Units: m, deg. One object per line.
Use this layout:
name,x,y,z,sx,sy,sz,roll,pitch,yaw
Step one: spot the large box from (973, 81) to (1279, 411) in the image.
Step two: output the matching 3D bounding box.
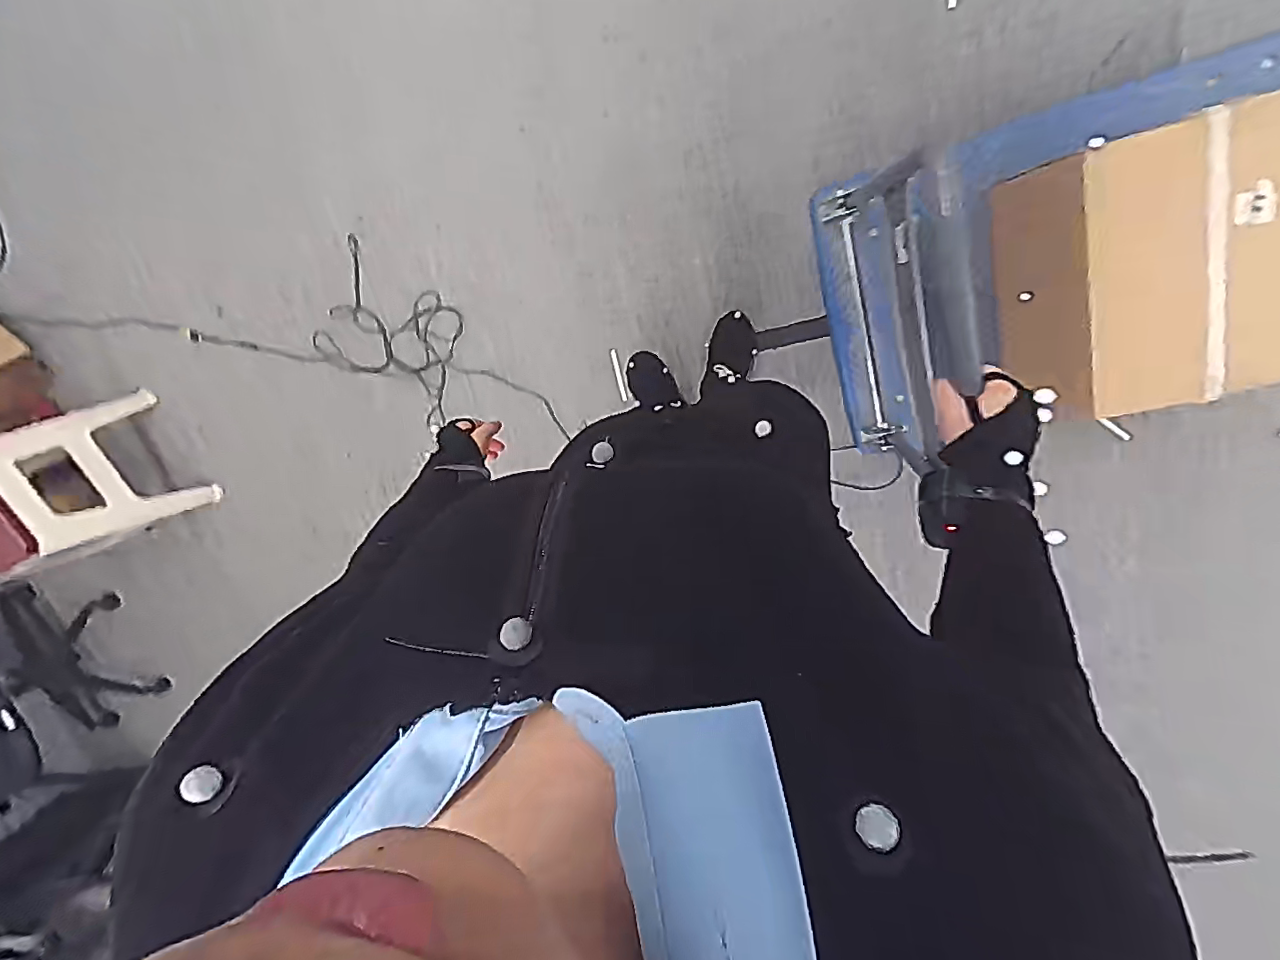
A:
large box,0.834,-0.373,0.949,0.320,0.320,0.408,-13,105,12
